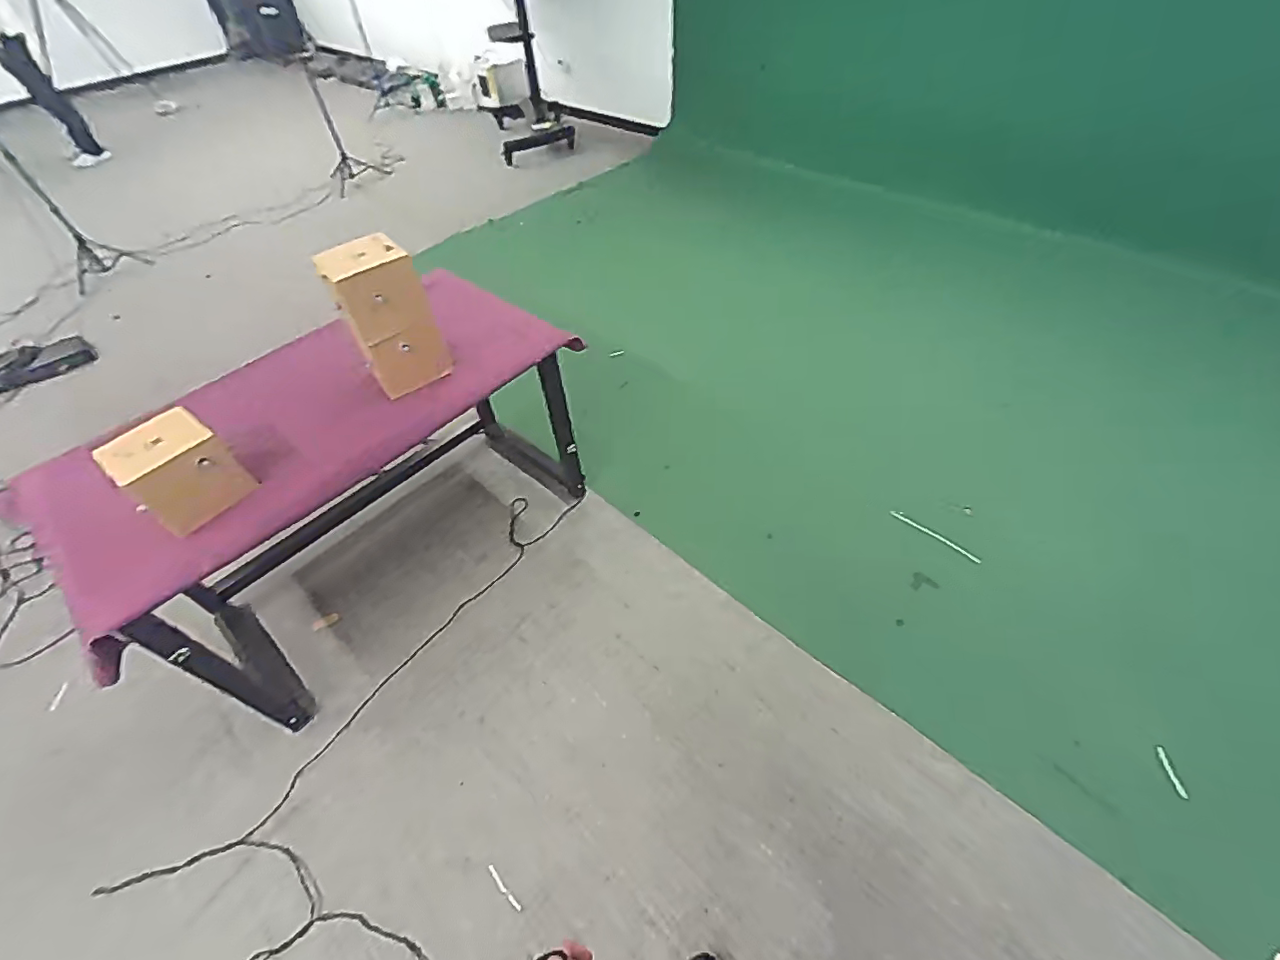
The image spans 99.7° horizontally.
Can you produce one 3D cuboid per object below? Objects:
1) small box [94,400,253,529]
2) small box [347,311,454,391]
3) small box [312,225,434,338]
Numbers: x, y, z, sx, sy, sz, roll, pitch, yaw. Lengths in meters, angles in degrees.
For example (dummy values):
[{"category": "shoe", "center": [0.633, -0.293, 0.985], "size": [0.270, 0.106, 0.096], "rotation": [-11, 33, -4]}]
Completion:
[{"category": "small box", "center": [-0.969, -0.032, 1.145], "size": [0.168, 0.176, 0.179], "rotation": [29, 58, 26]}, {"category": "small box", "center": [-0.613, -0.358, 1.398], "size": [0.179, 0.176, 0.168], "rotation": [-31, 54, -21]}, {"category": "small box", "center": [-0.622, -0.463, 1.273], "size": [0.179, 0.176, 0.168], "rotation": [-35, 57, -22]}]
